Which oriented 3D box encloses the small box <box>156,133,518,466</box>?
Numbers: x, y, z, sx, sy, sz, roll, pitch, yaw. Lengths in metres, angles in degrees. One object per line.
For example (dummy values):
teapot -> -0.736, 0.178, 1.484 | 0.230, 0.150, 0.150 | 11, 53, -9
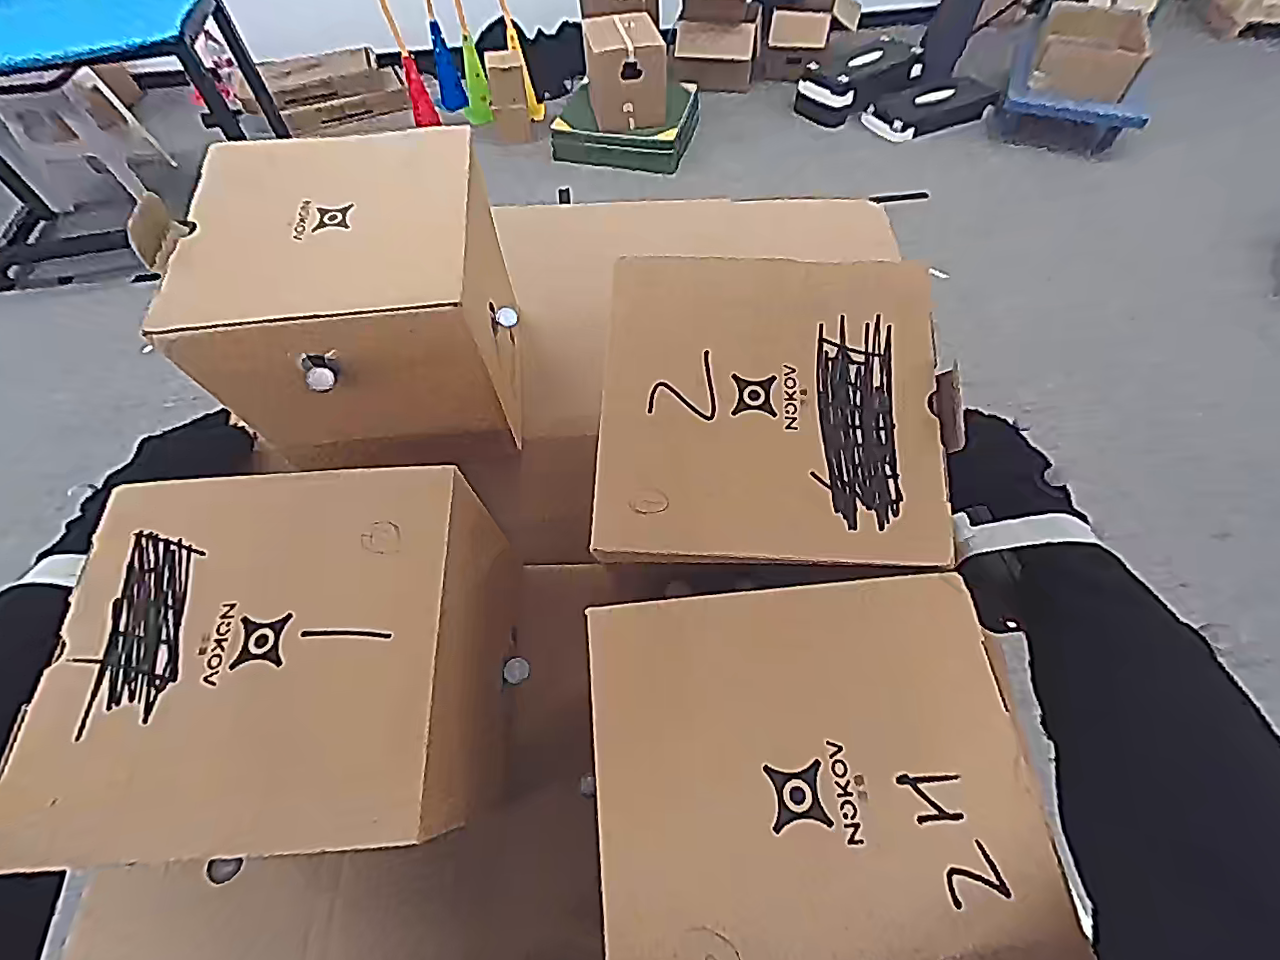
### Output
small box -> -0.194, -0.125, 0.413 | 0.179, 0.176, 0.168 | -7, 63, -1
